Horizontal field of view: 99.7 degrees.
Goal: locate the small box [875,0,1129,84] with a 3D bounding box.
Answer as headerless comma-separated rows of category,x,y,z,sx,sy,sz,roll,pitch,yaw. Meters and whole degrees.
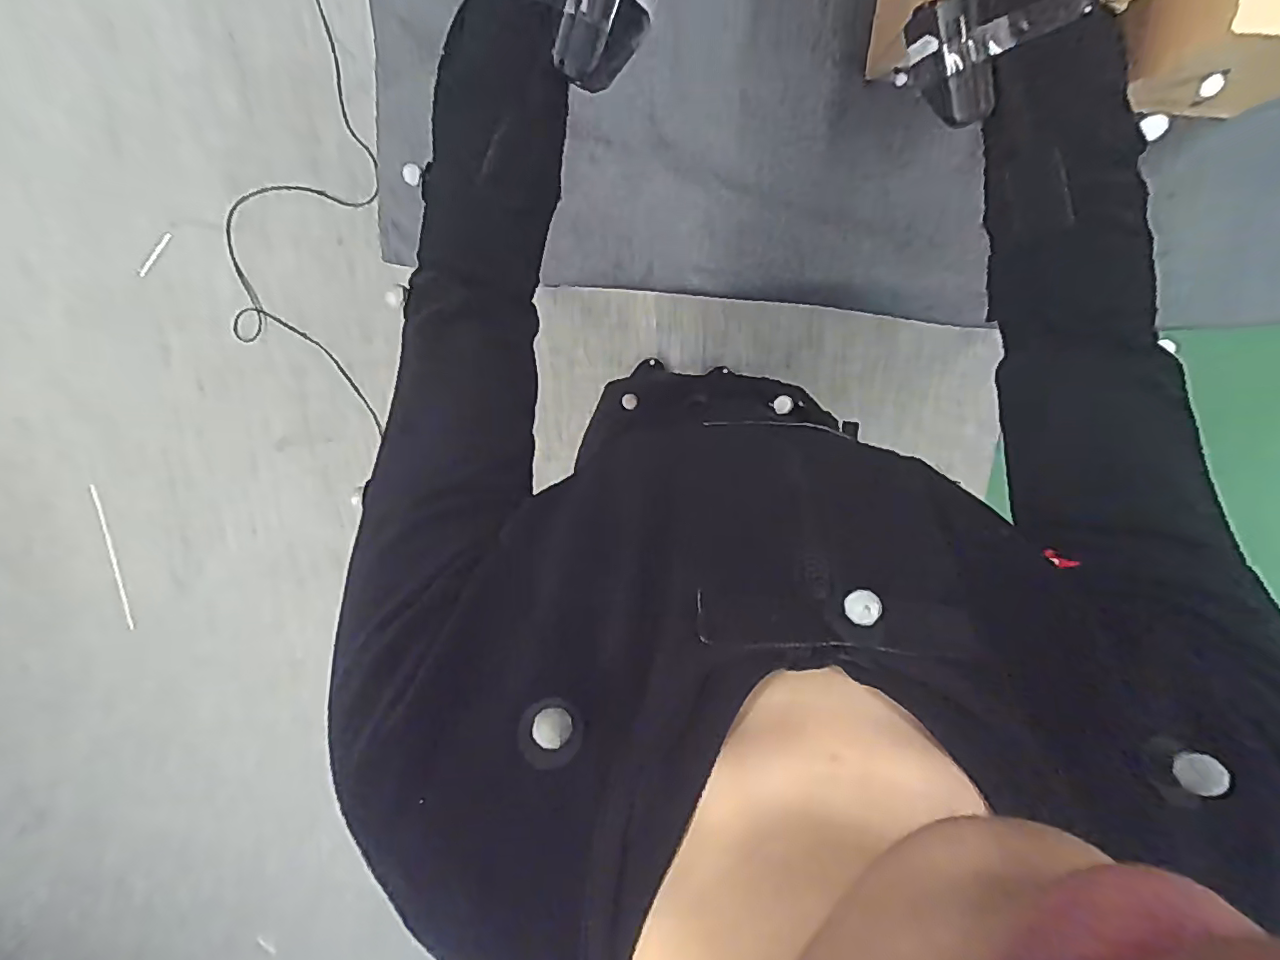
small box,0.341,-0.507,0.505,0.168,0.176,0.179,6,104,1

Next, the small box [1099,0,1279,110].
small box,0.587,-0.474,0.504,0.168,0.176,0.179,4,105,1
